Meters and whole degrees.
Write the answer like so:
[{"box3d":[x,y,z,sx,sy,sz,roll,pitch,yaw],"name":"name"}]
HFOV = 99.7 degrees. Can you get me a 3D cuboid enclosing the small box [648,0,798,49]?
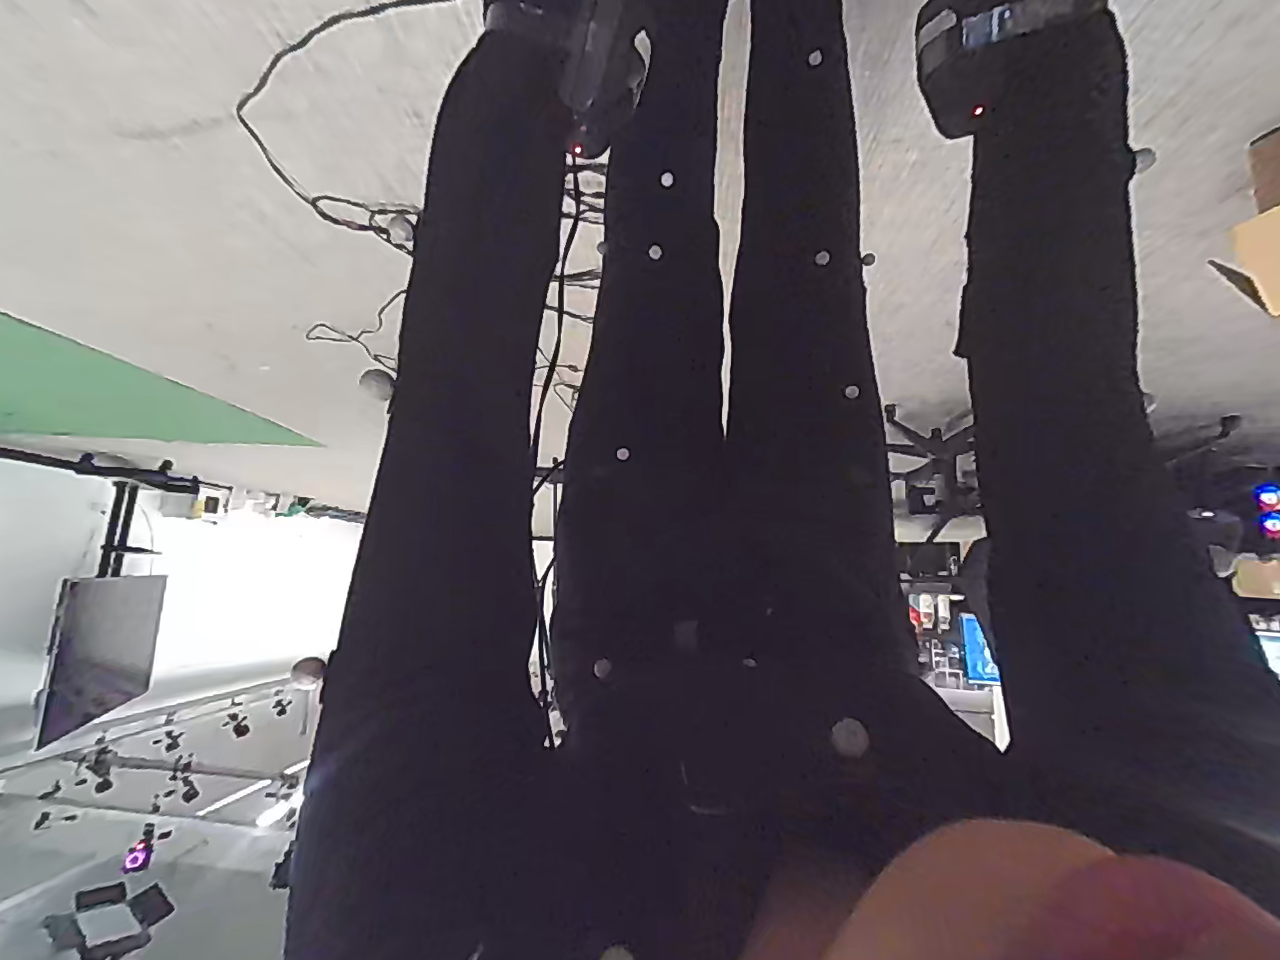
[{"box3d":[0.092,-0.619,0.583,0.168,0.176,0.179,-6,173,-3],"name":"small box"}]
